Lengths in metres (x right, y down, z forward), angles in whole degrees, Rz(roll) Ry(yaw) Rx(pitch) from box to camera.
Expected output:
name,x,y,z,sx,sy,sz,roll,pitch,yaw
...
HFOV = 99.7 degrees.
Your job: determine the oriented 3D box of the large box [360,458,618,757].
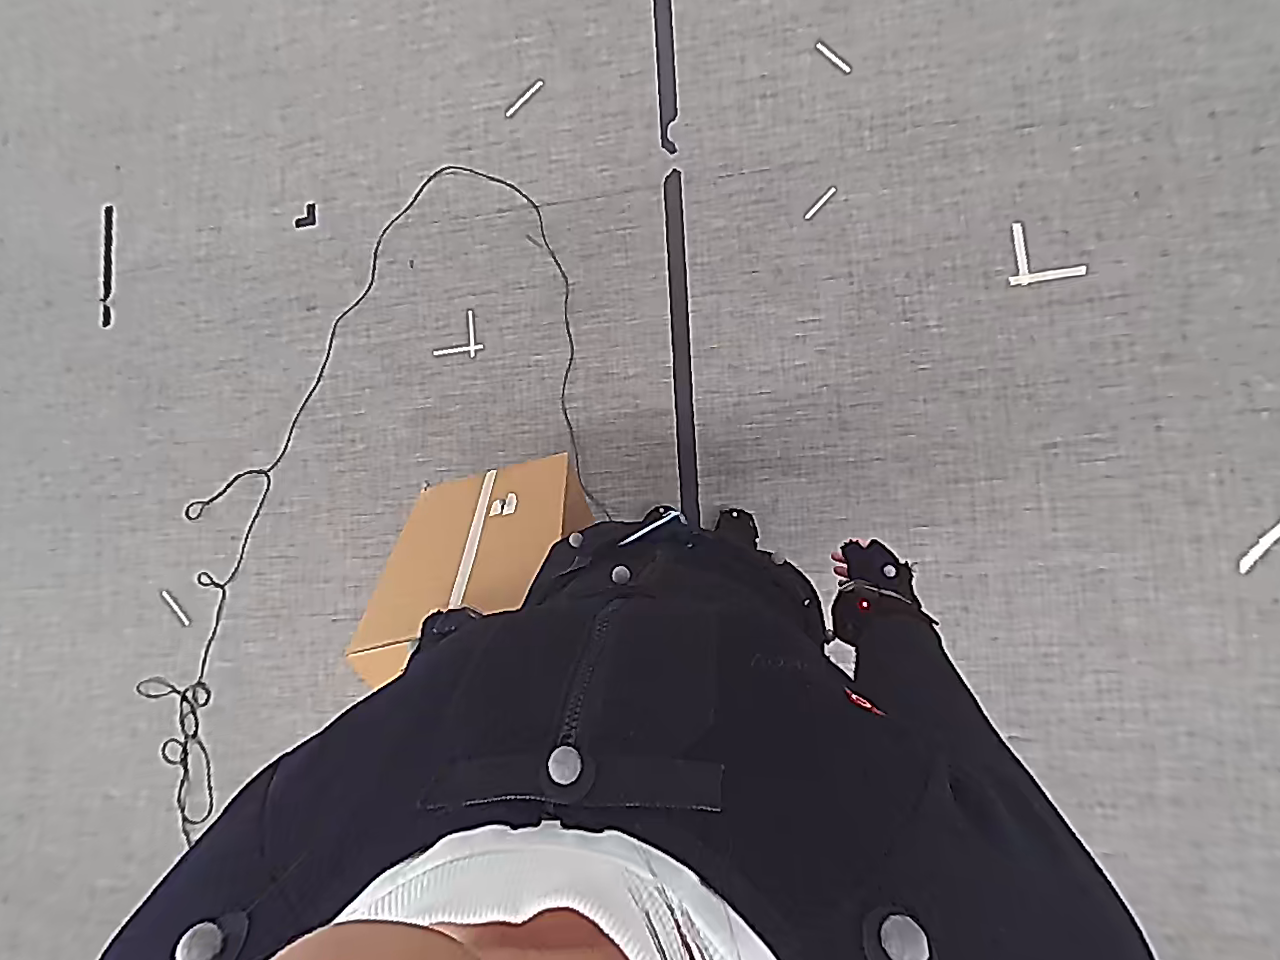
name,x,y,z,sx,sy,sz,roll,pitch,yaw
large box,-0.234,0.219,1.002,0.320,0.408,0.320,-13,124,4
